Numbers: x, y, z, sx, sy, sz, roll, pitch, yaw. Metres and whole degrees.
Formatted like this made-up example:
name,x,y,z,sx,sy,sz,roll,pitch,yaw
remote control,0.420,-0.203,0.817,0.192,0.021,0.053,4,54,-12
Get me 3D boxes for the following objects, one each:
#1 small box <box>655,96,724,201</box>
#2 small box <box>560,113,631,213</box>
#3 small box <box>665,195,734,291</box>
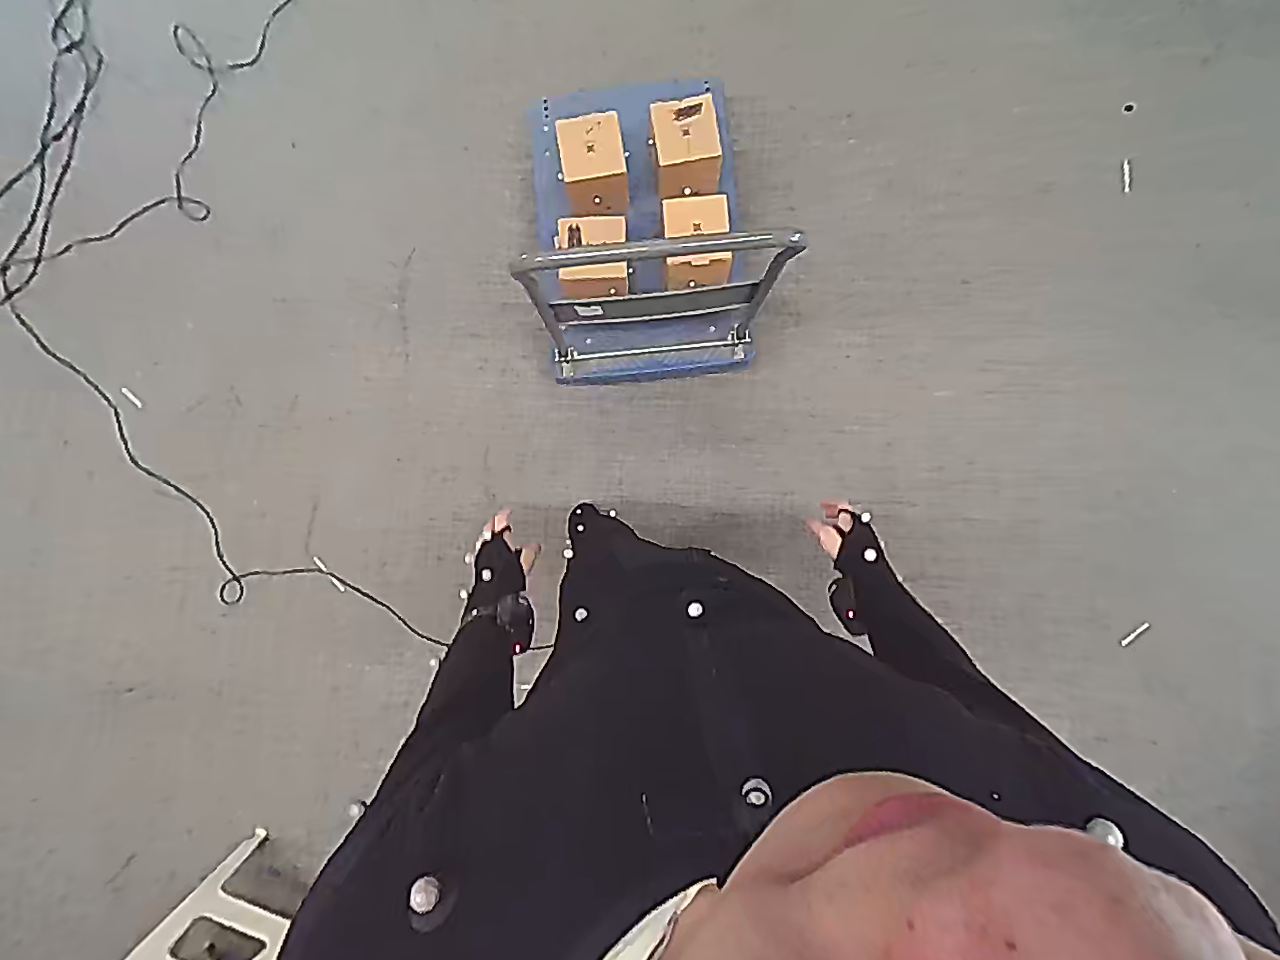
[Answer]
name,x,y,z,sx,sy,sz,roll,pitch,yaw
small box,0.131,-0.907,1.493,0.168,0.176,0.179,-9,85,2
small box,-0.117,-0.866,1.498,0.168,0.176,0.179,-9,84,0
small box,0.156,-0.638,1.468,0.168,0.176,0.179,-5,85,1
